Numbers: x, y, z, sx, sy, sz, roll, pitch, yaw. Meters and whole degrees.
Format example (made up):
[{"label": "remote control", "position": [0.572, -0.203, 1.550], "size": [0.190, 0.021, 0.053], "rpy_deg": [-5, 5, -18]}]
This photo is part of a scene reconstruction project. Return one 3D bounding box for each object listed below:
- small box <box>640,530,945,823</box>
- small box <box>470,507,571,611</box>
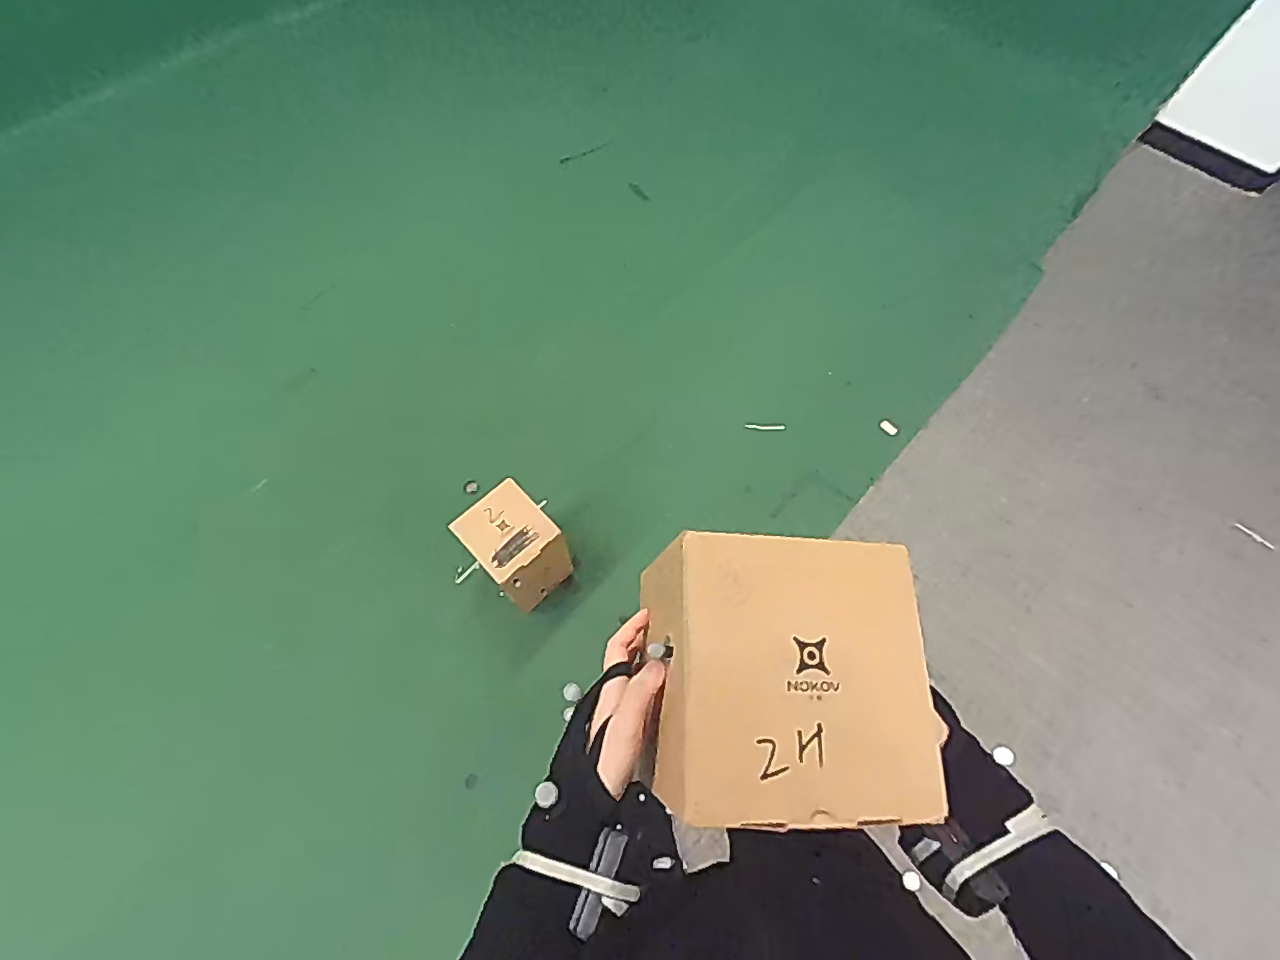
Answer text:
[{"label": "small box", "position": [0.094, 0.149, 0.424], "size": [0.168, 0.176, 0.179], "rpy_deg": [4, 69, -9]}, {"label": "small box", "position": [-0.291, 0.204, 1.351], "size": [0.168, 0.176, 0.179], "rpy_deg": [-41, 75, -17]}]
